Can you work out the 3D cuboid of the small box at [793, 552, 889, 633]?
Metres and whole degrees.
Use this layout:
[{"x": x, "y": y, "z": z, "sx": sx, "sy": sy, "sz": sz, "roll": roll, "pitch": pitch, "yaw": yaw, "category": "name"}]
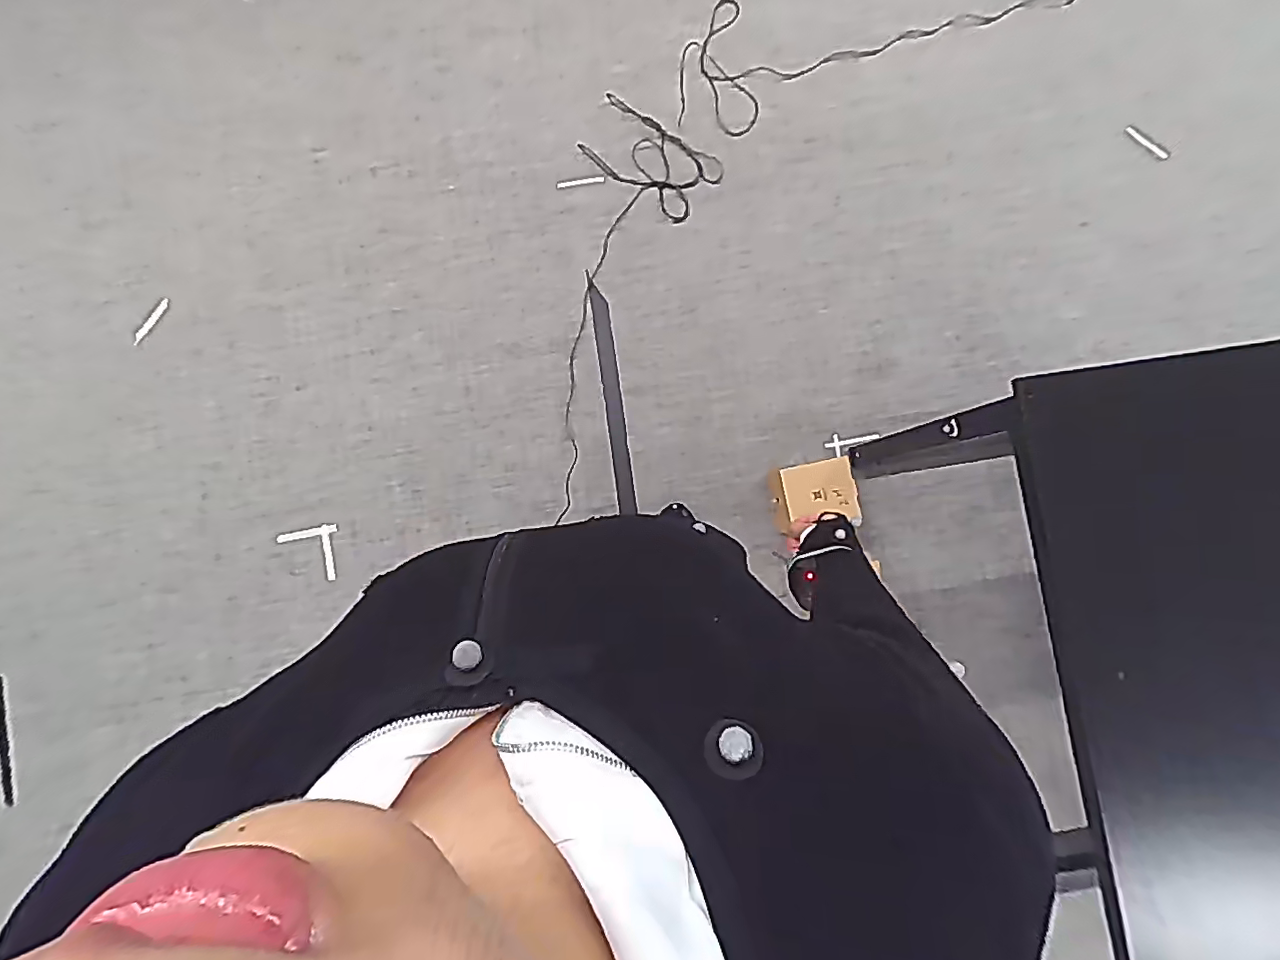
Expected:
[{"x": 0.514, "y": 0.285, "z": 1.403, "sx": 0.179, "sy": 0.176, "sz": 0.168, "roll": -10, "pitch": 86, "yaw": 2, "category": "small box"}]
